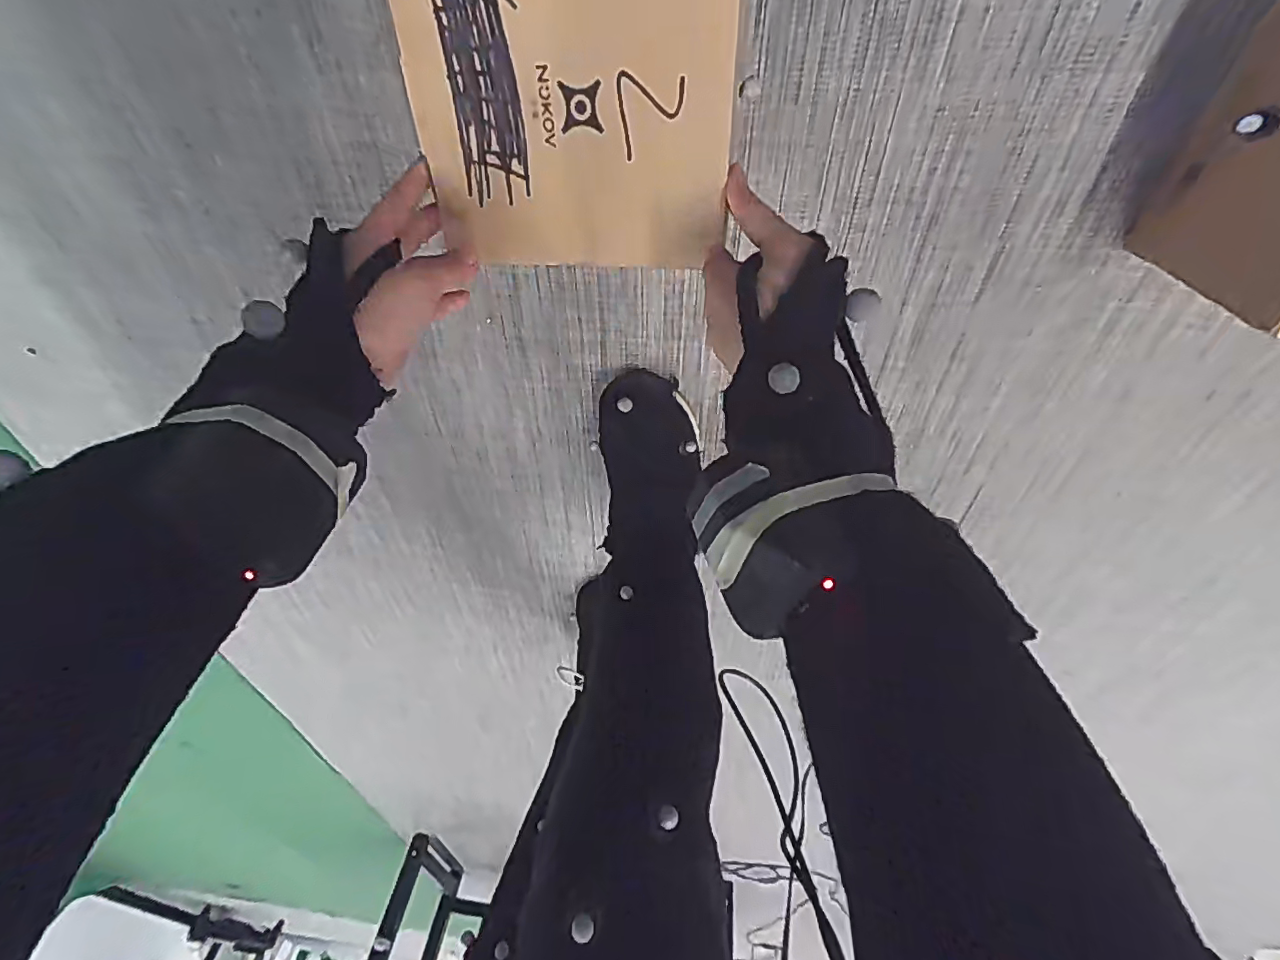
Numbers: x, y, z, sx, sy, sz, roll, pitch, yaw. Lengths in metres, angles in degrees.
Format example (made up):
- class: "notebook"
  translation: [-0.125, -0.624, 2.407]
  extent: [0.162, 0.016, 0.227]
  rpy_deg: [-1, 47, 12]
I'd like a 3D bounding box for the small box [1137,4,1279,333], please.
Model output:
- class: "small box"
  translation: [0.483, -0.195, 0.330]
  extent: [0.179, 0.176, 0.168]
  rpy_deg: [7, 133, 5]
